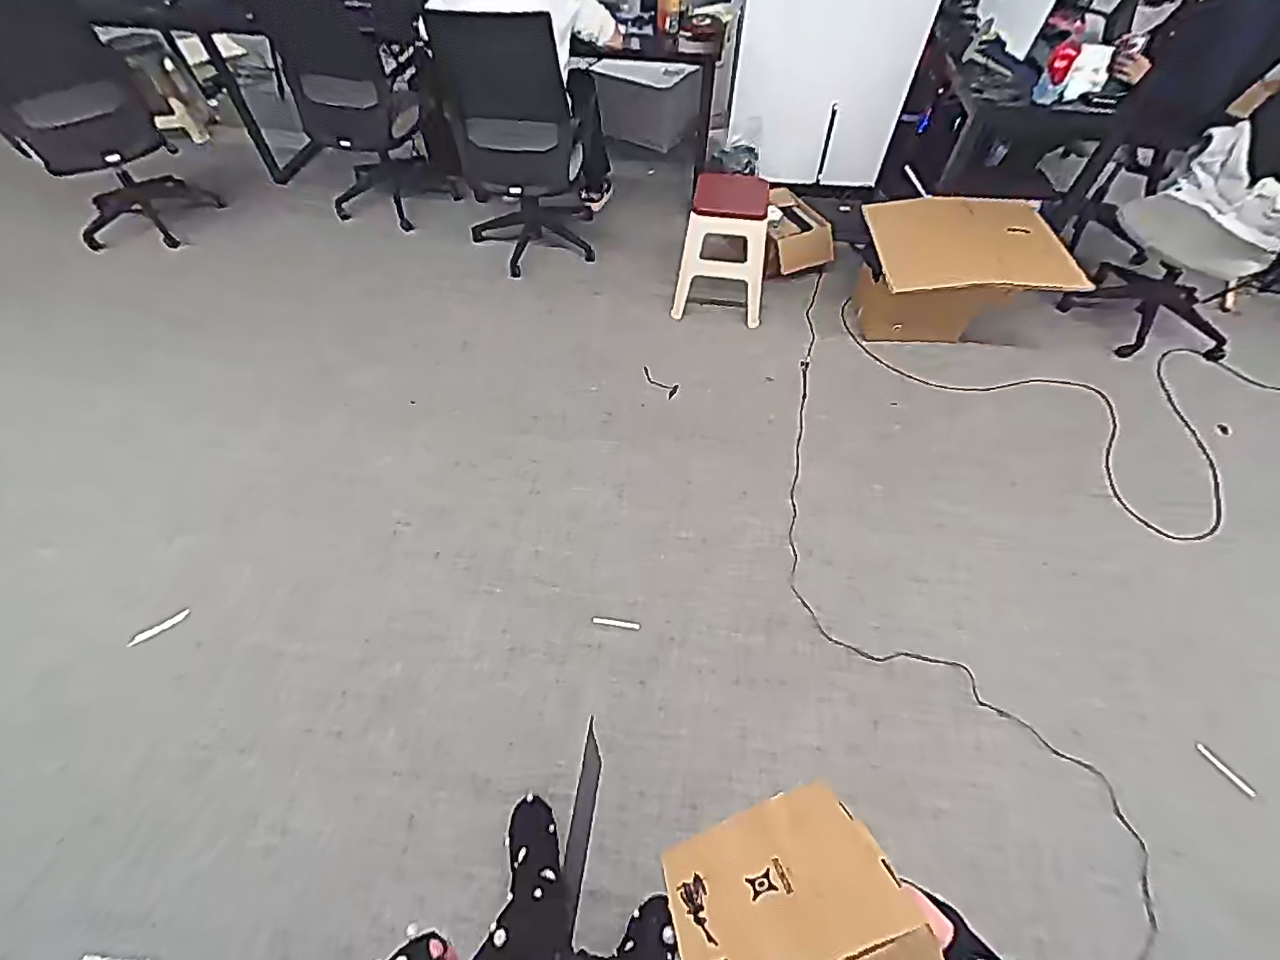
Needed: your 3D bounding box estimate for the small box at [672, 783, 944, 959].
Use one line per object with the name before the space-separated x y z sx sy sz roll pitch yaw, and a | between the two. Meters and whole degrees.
small box | 0.145 0.412 0.461 0.179 0.168 0.176 -21 94 -5
